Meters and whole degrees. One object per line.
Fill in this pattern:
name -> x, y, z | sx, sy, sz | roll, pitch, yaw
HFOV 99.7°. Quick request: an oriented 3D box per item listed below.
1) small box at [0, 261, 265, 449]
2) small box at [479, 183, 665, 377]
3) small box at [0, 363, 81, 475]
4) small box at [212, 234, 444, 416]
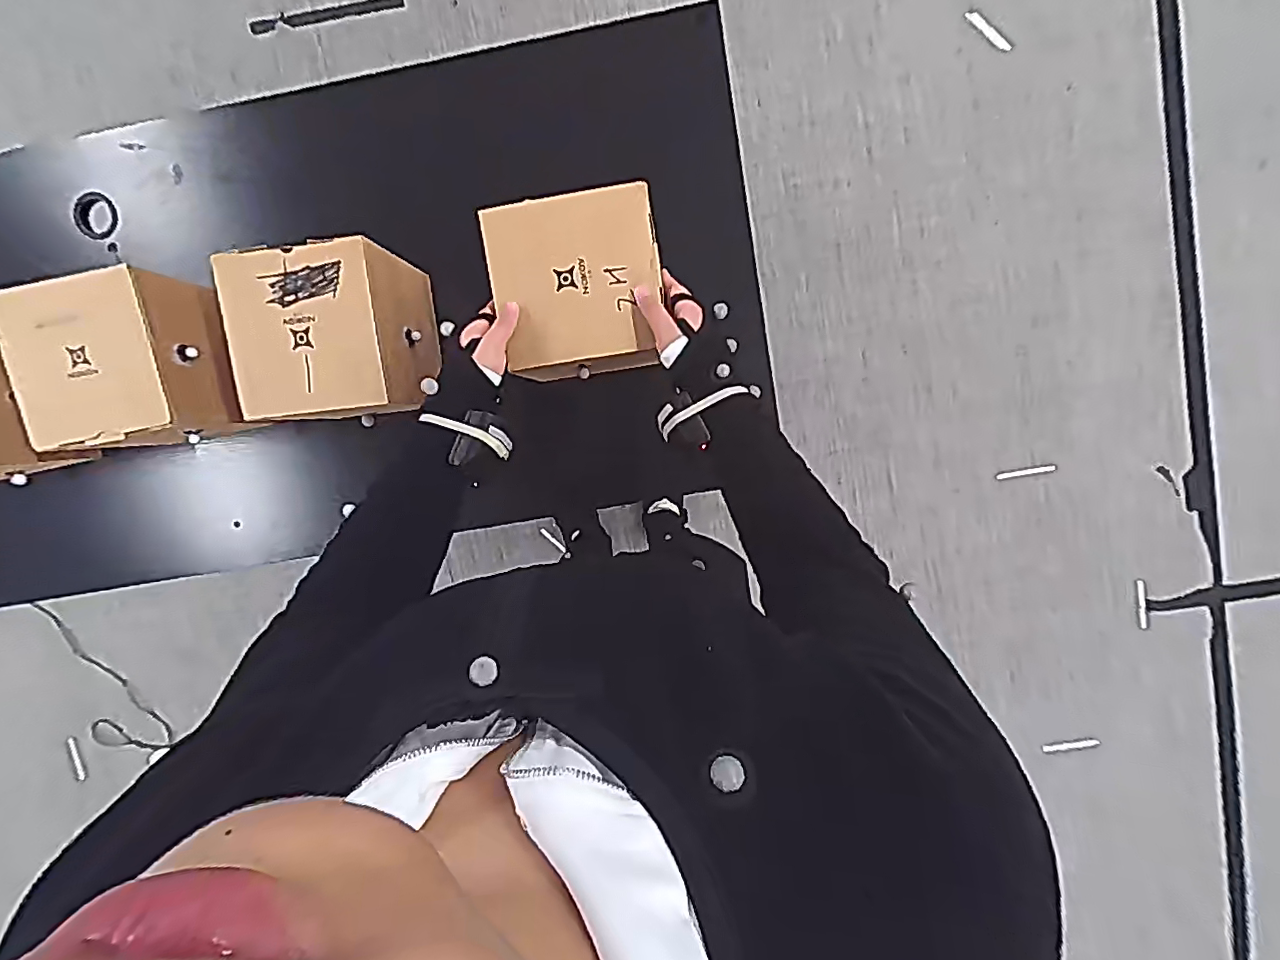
small box -> -0.601, -0.141, 0.658 | 0.168, 0.176, 0.179 | -11, 96, 2
small box -> -0.066, -0.217, 0.634 | 0.179, 0.176, 0.168 | -8, 97, 3
small box -> -0.858, -0.087, 0.668 | 0.179, 0.176, 0.168 | -12, 96, 2
small box -> -0.354, -0.170, 0.647 | 0.168, 0.176, 0.179 | -6, 97, 2
